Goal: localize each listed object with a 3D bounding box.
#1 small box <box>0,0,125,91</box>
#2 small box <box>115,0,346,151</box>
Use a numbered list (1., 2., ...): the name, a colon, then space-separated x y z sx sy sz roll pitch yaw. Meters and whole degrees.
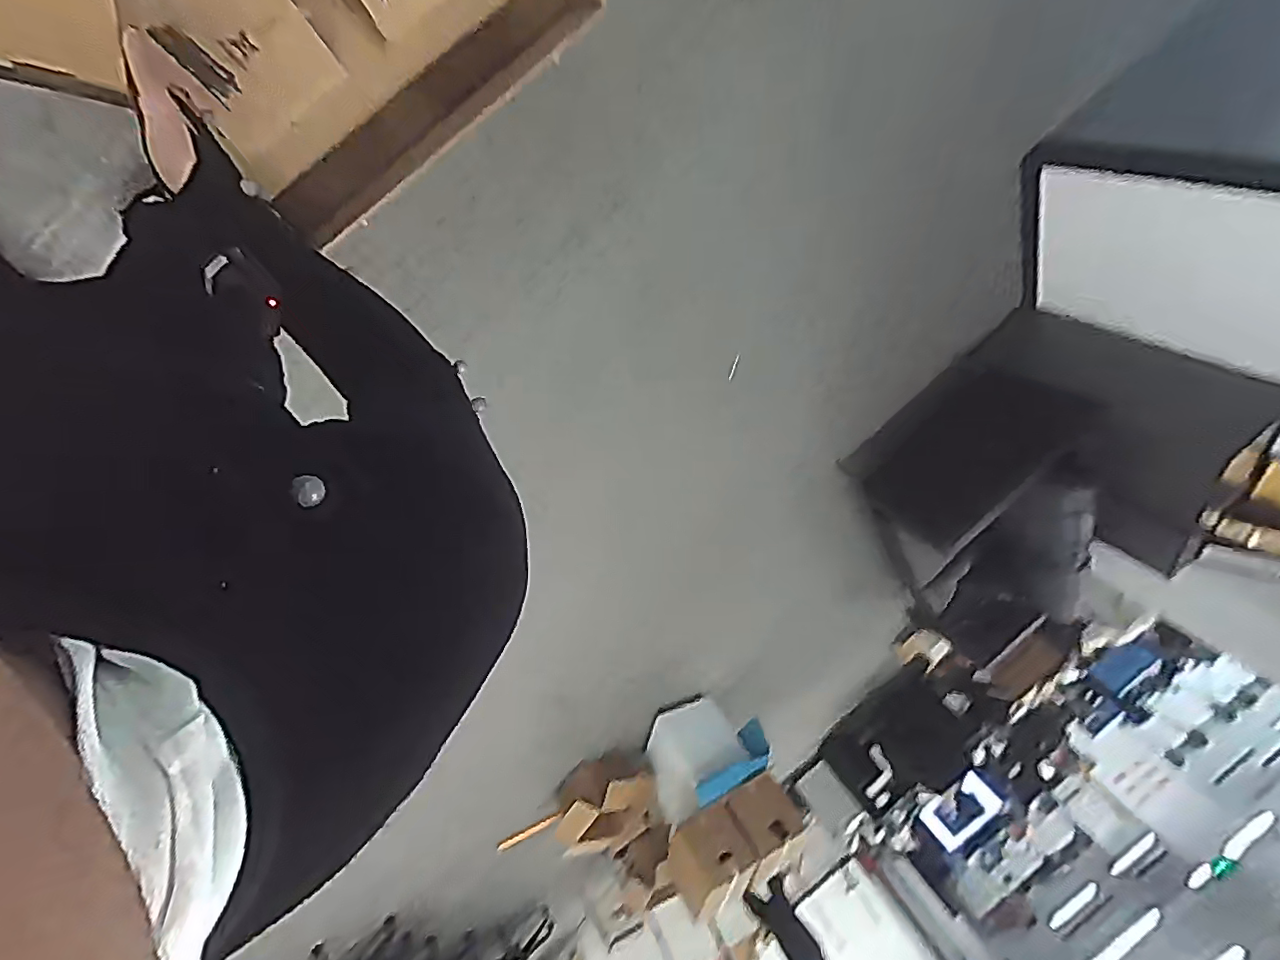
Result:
1. small box: -0.489 -0.402 0.378 0.168 0.176 0.179 -8 121 -38
2. small box: -0.516 -0.562 0.697 0.179 0.176 0.168 -41 136 -2
